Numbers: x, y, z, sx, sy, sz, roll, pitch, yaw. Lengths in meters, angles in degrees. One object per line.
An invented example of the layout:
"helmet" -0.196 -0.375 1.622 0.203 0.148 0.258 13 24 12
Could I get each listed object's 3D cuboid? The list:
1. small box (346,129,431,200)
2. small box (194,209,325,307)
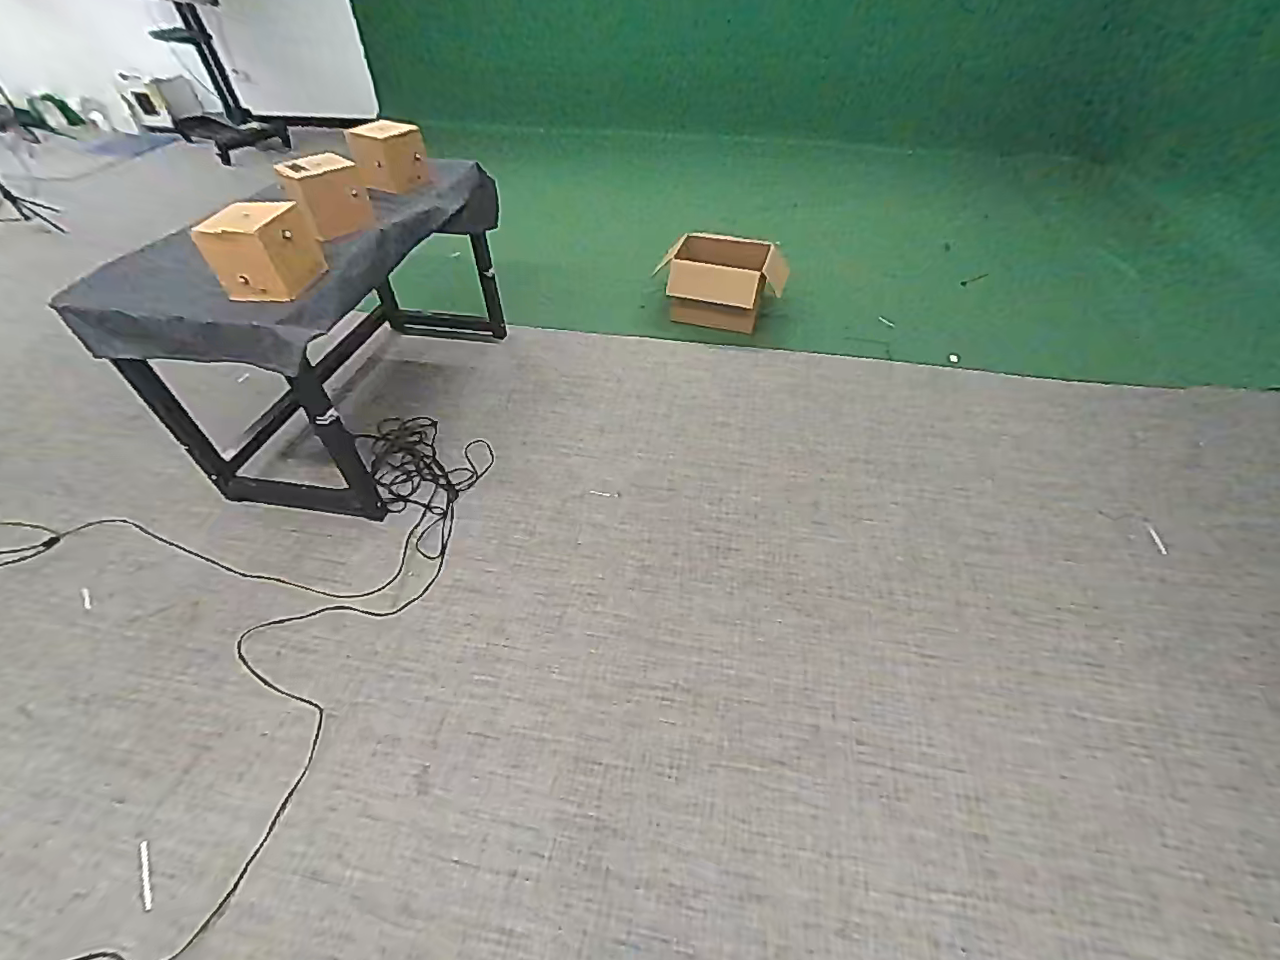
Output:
"small box" -0.845 -1.070 1.835 0.179 0.176 0.168 20 48 21
"small box" -0.904 -0.540 1.311 0.168 0.176 0.179 3 46 7
